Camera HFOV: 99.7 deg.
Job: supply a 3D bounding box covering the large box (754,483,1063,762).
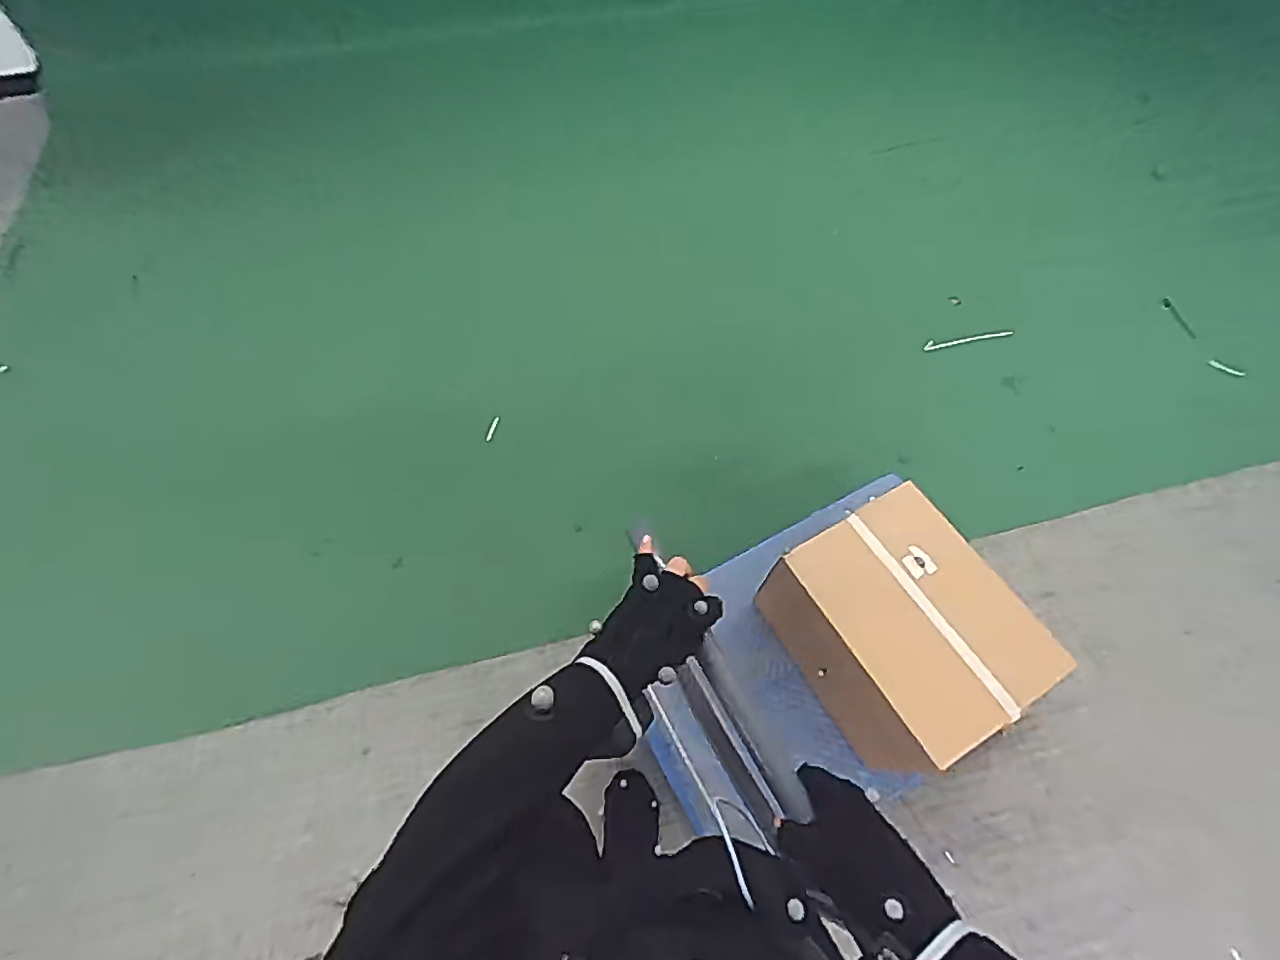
[{"bbox_3d":[0.488,0.290,1.086,0.320,0.320,0.408,-27,65,-14],"label":"large box"}]
